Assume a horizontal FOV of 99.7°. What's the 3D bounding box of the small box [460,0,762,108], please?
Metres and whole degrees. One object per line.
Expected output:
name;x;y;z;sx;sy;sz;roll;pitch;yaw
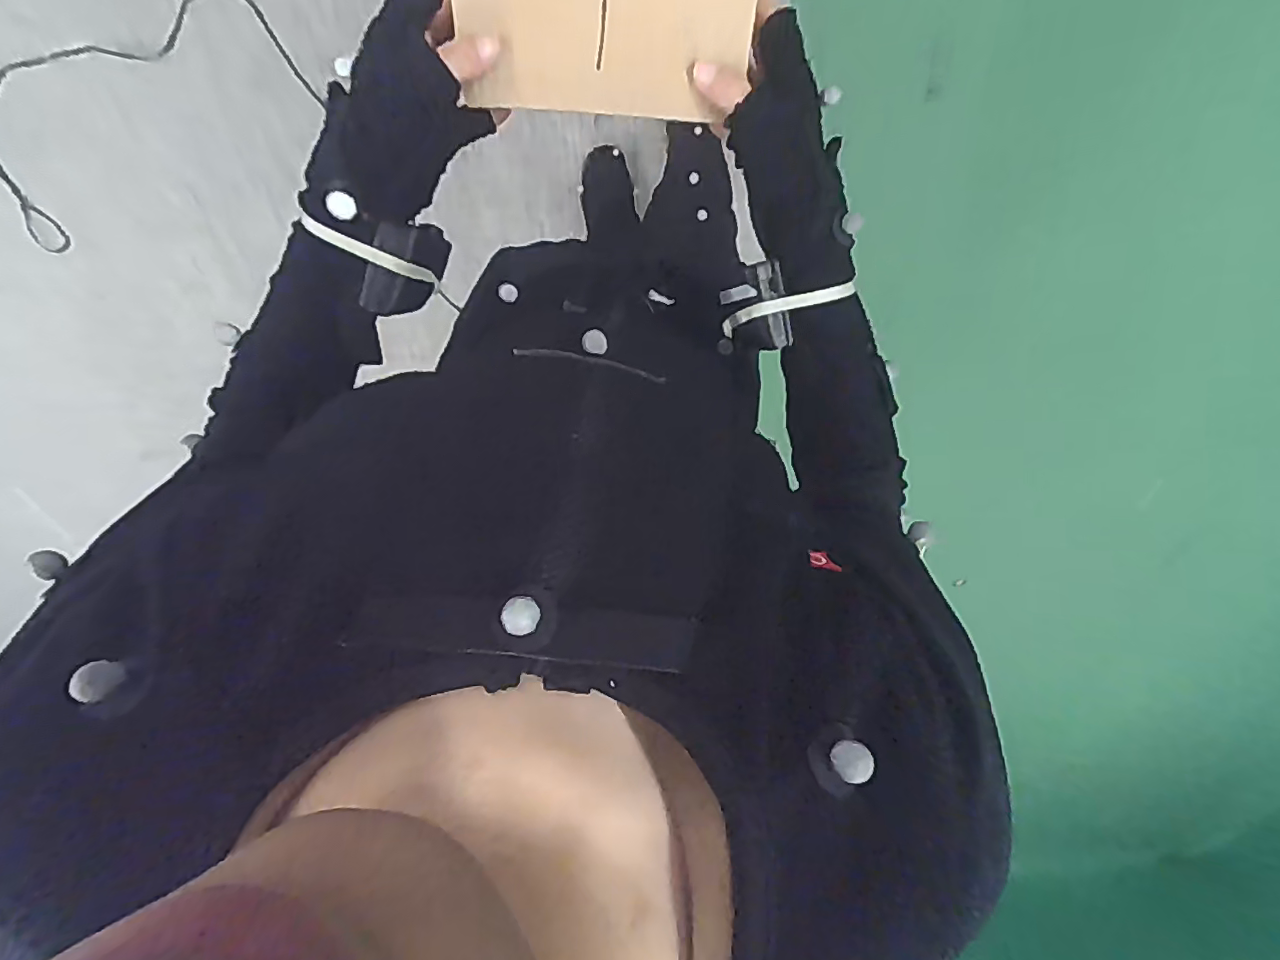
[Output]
small box;-0.012;-0.342;0.331;0.168;0.176;0.179;3;126;-2
